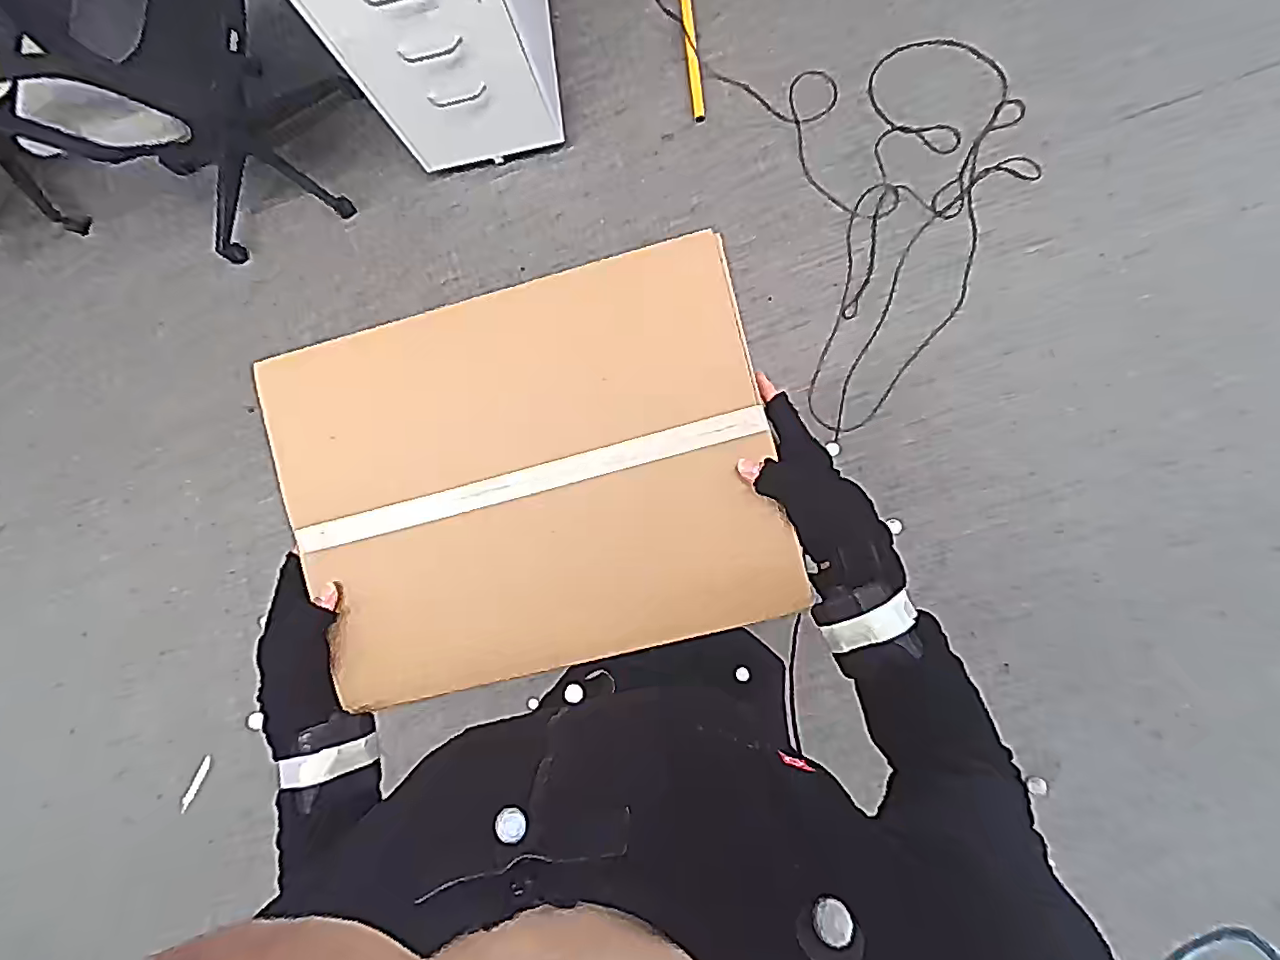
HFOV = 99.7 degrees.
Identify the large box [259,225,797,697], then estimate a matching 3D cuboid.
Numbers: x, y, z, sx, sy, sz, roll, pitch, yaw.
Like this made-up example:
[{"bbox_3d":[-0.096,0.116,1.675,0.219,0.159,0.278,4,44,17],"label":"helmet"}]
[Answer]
[{"bbox_3d":[-0.088,-0.015,0.599,0.408,0.320,0.320,-15,90,5],"label":"large box"}]
